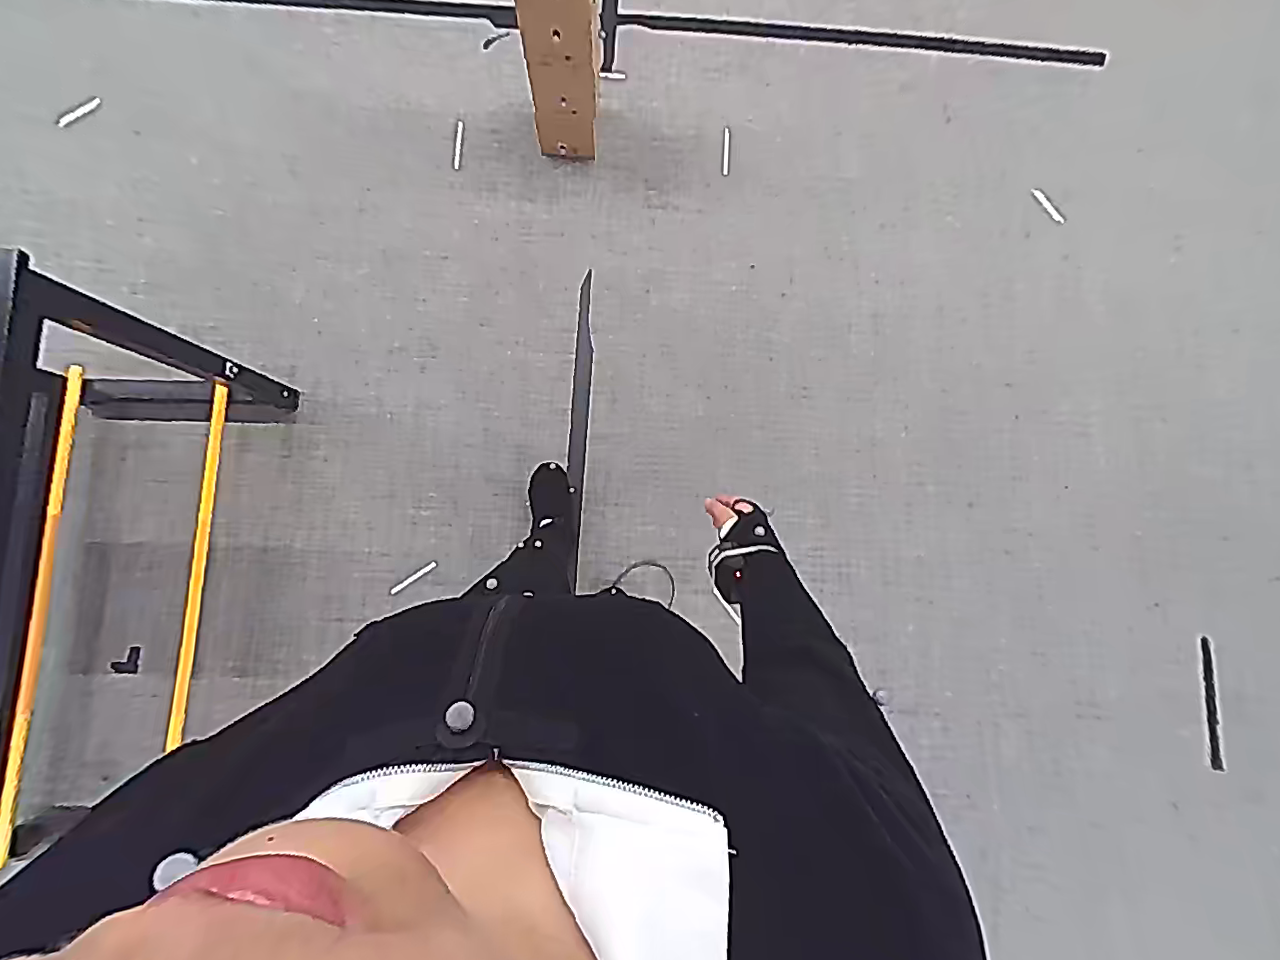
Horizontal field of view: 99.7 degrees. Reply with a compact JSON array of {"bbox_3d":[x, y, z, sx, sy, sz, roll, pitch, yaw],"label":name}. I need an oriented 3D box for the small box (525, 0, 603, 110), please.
[{"bbox_3d":[-0.176,-1.036,1.294,0.168,0.176,0.179,3,84,-2],"label":"small box"}]

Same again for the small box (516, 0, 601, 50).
[{"bbox_3d":[-0.168,-1.051,1.131,0.168,0.176,0.179,3,84,-2],"label":"small box"}]

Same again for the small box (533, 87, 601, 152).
[{"bbox_3d":[-0.191,-1.028,1.459,0.168,0.176,0.179,2,85,-2],"label":"small box"}]
